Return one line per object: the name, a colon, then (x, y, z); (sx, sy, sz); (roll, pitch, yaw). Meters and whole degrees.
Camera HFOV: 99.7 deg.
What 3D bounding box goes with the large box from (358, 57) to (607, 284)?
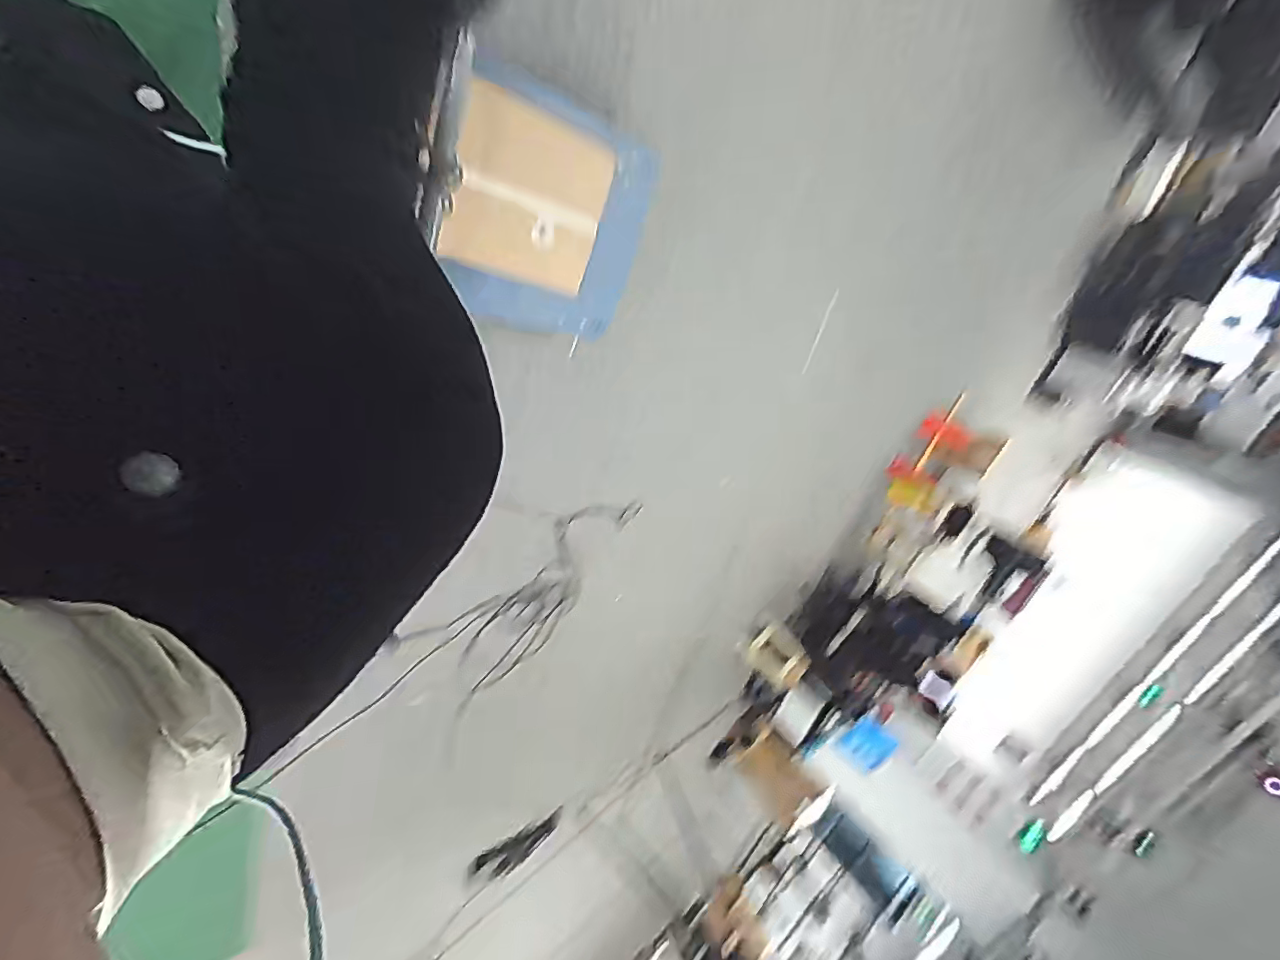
large box: (-0.355, -0.669, 1.202); (0.408, 0.320, 0.320); (-1, 121, -45)
